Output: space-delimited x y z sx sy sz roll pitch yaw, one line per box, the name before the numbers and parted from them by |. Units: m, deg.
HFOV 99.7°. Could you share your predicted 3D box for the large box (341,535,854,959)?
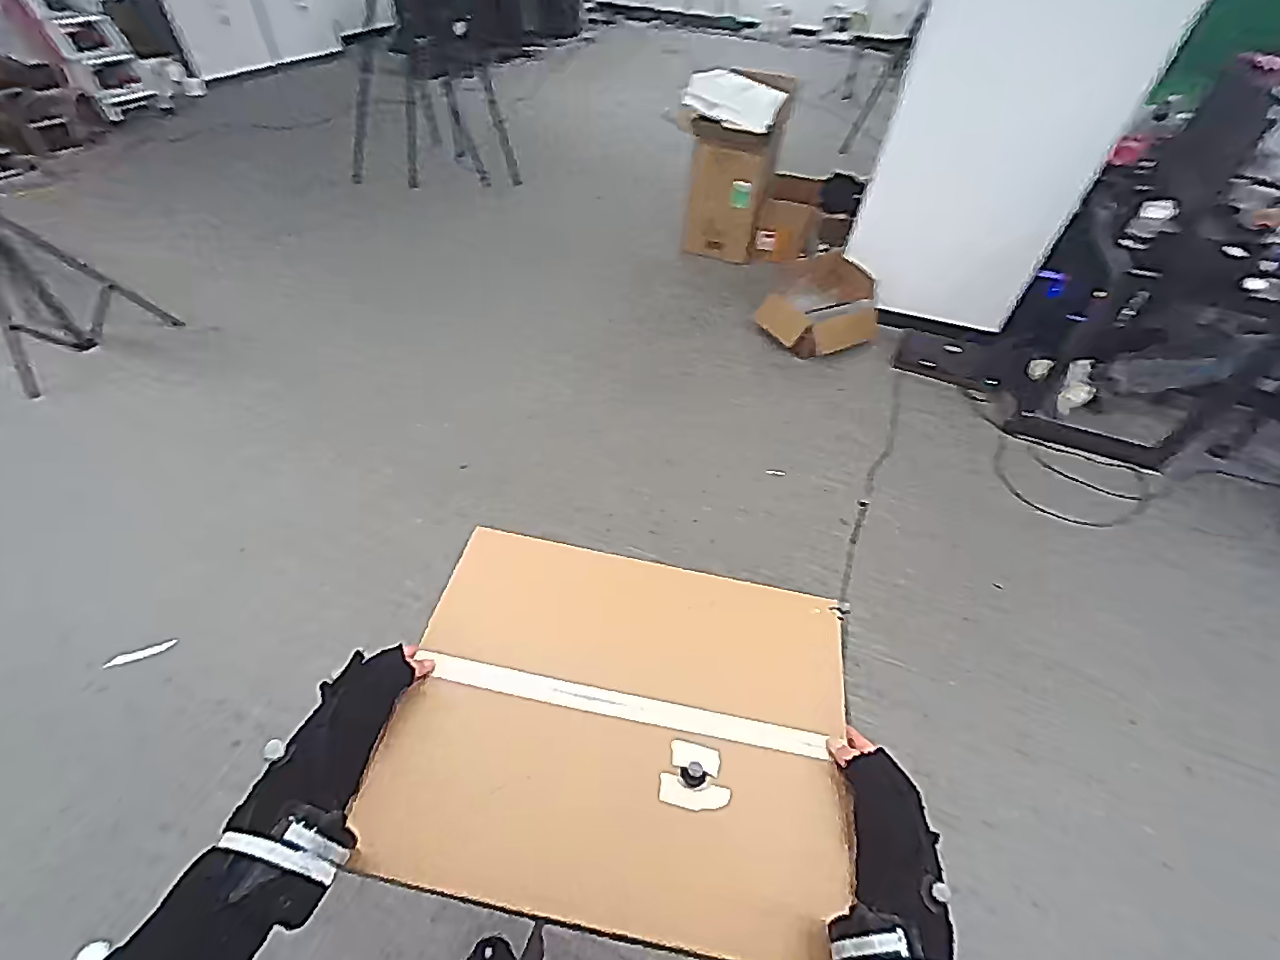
large box | -0.028 0.304 0.613 0.408 0.320 0.320 12 50 2
